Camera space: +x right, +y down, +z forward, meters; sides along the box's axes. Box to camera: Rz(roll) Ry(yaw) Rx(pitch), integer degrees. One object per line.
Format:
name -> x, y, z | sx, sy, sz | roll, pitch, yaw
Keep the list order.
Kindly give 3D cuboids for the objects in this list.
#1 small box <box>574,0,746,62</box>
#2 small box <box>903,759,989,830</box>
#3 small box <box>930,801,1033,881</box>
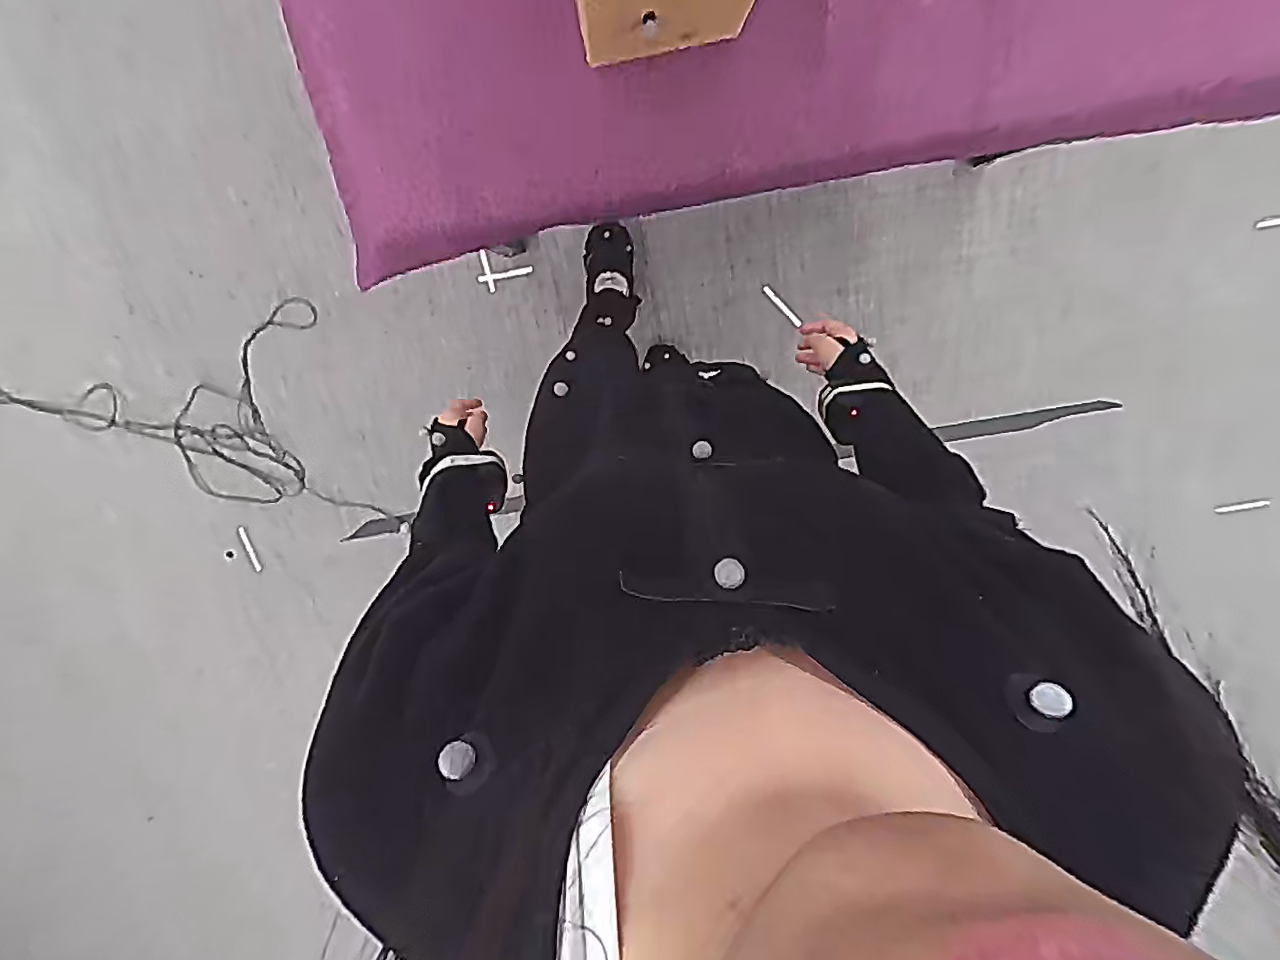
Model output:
small box -> 0.011, -0.514, 0.487 | 0.168, 0.176, 0.179 | -11, 110, 2
small box -> 1.052, 1.100, 1.853 | 0.179, 0.176, 0.168 | 34, 105, -13
small box -> 1.063, 1.153, 1.700 | 0.179, 0.176, 0.168 | 29, 108, -13
